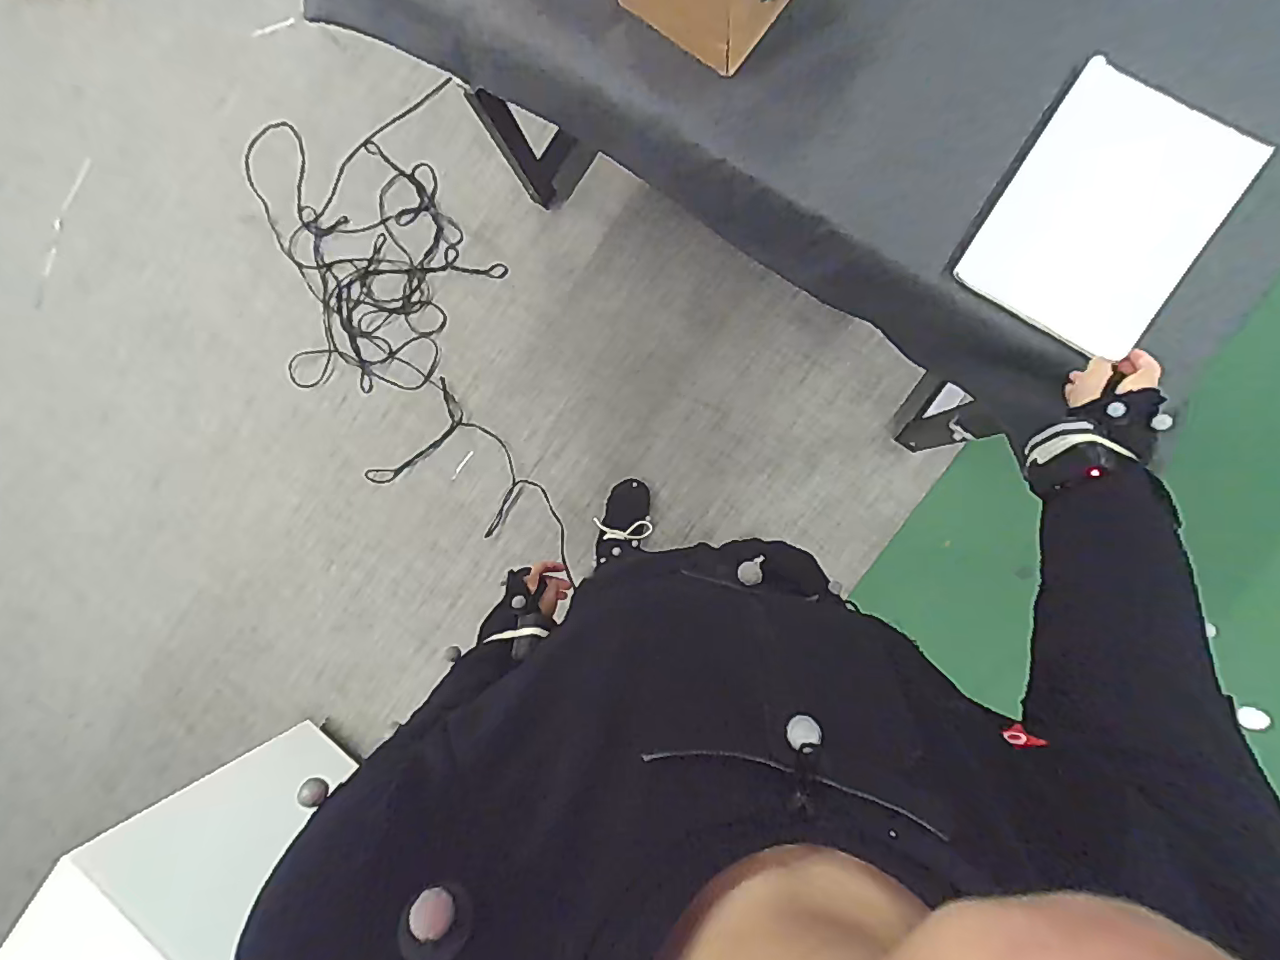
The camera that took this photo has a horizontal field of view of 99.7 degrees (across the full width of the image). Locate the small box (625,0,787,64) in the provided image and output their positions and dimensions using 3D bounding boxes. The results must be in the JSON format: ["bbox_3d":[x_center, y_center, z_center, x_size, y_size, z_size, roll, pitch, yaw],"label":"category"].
[{"bbox_3d":[0.076,-0.595,0.563,0.179,0.176,0.168,39,94,7],"label":"small box"}]
